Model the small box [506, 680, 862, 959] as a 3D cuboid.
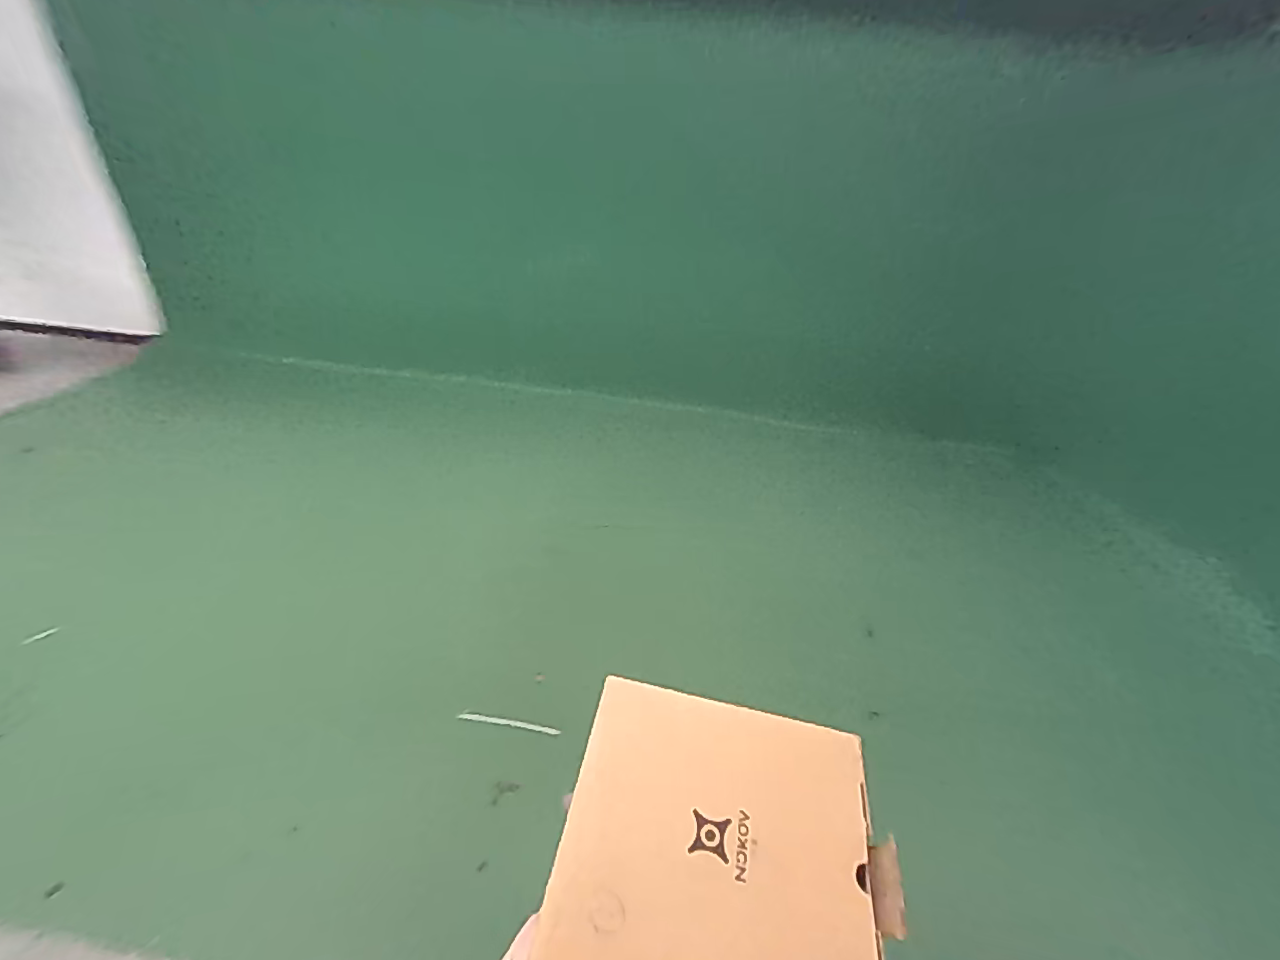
[{"bbox_3d":[0.028,0.264,0.359,0.179,0.176,0.168,10,40,5],"label":"small box"}]
